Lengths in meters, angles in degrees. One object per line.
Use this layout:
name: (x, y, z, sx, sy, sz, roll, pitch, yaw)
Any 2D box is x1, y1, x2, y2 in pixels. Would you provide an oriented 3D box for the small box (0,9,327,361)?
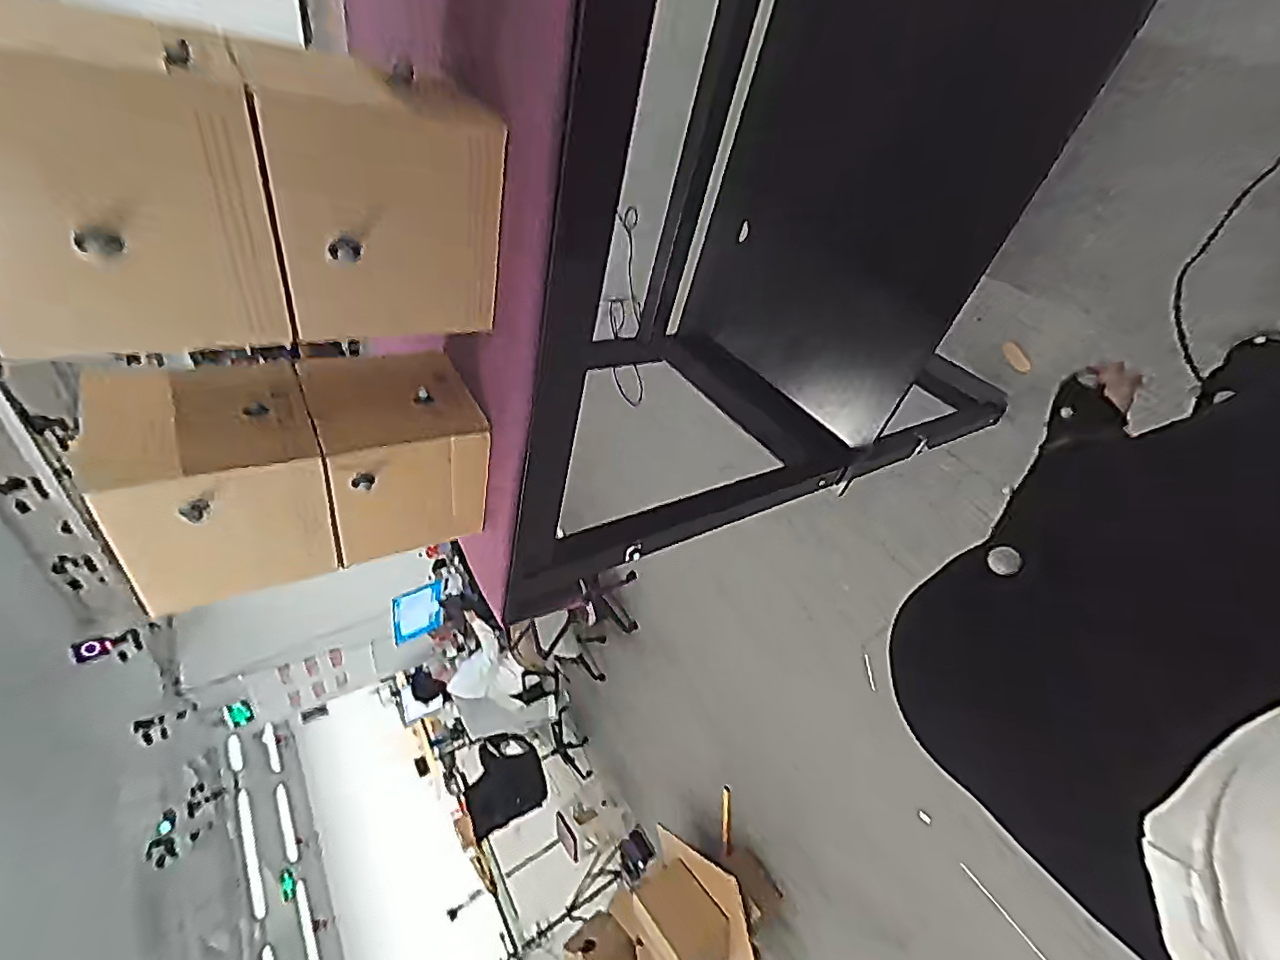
small box: (-0.352, -0.214, 0.403, 0.168, 0.176, 0.179, 52, 143, 33)

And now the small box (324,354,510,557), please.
small box: (-0.270, -0.037, 0.667, 0.168, 0.176, 0.179, 52, 140, 34)
